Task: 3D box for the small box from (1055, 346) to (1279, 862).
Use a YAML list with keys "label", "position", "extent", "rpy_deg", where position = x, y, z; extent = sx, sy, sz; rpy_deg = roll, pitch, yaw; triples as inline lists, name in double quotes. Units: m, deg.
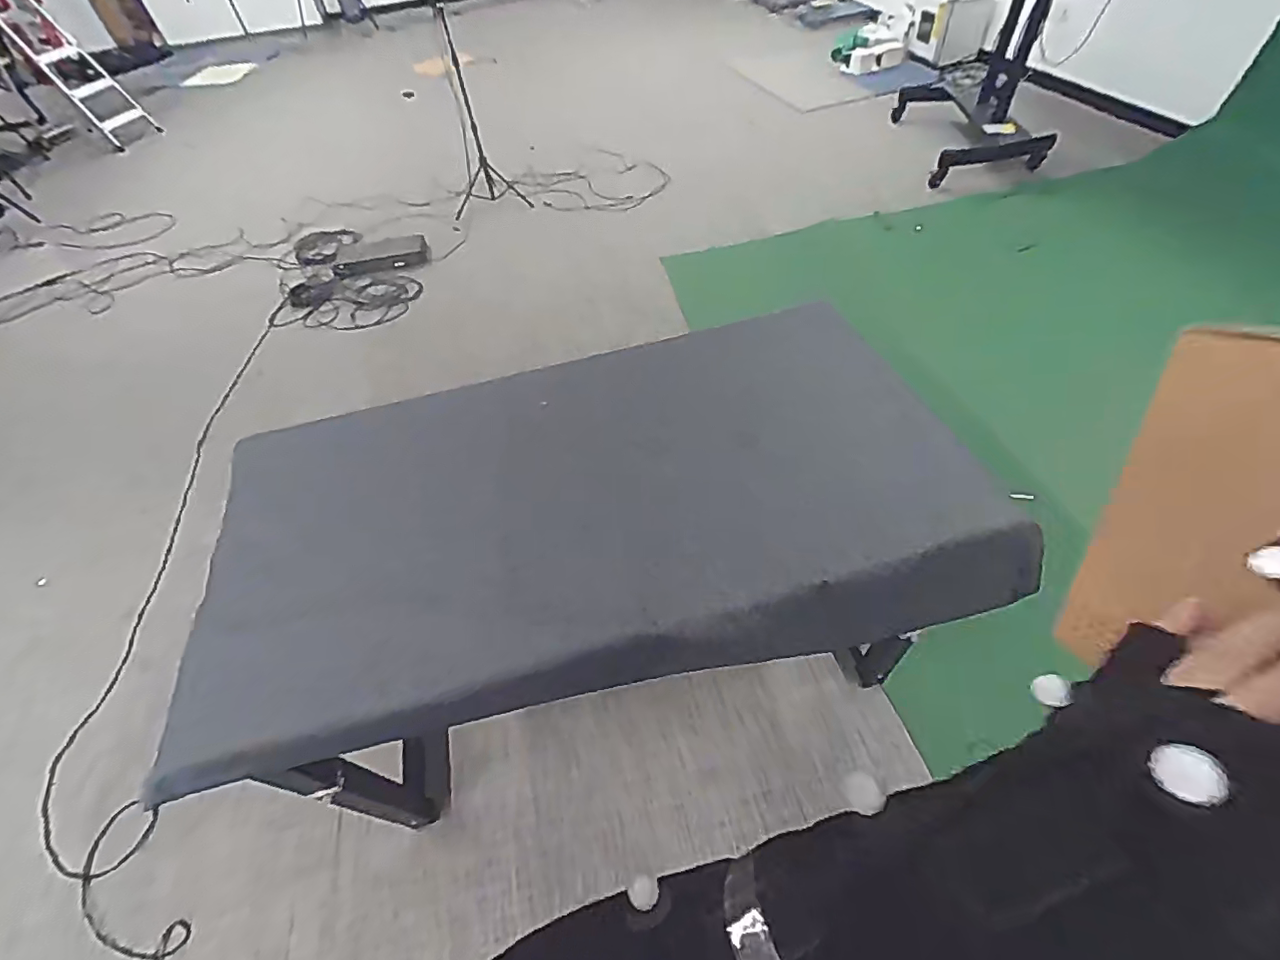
- label: "small box"
  position: [0.310, 0.054, 0.194]
  extent: [0.168, 0.176, 0.179]
  rpy_deg: [4, 22, -2]
